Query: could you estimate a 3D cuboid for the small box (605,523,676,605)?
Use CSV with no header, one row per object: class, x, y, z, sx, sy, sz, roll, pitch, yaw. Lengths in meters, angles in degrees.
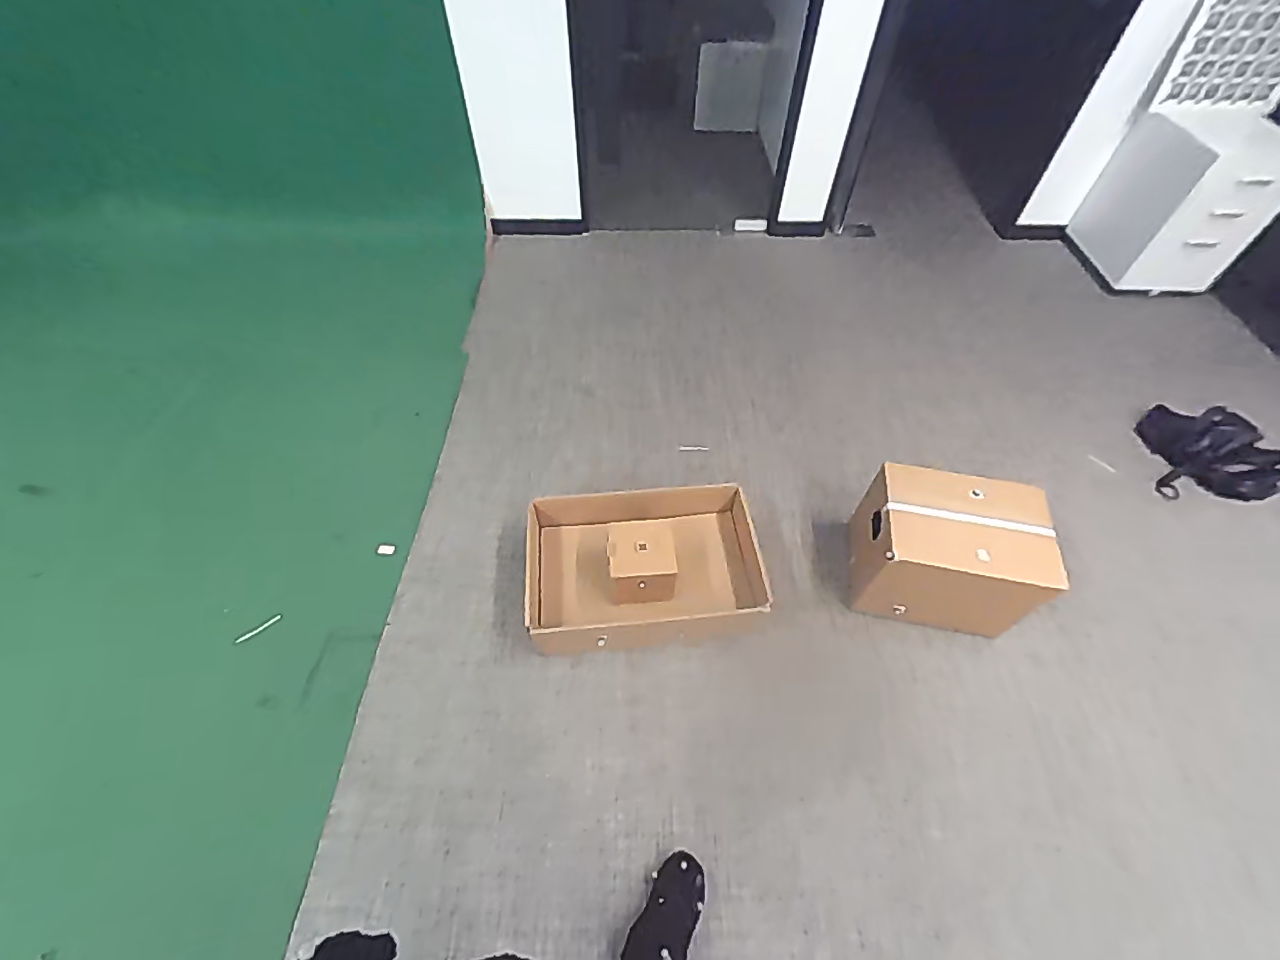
small box,-0.002,0.234,1.484,0.179,0.176,0.168,-3,53,-5
